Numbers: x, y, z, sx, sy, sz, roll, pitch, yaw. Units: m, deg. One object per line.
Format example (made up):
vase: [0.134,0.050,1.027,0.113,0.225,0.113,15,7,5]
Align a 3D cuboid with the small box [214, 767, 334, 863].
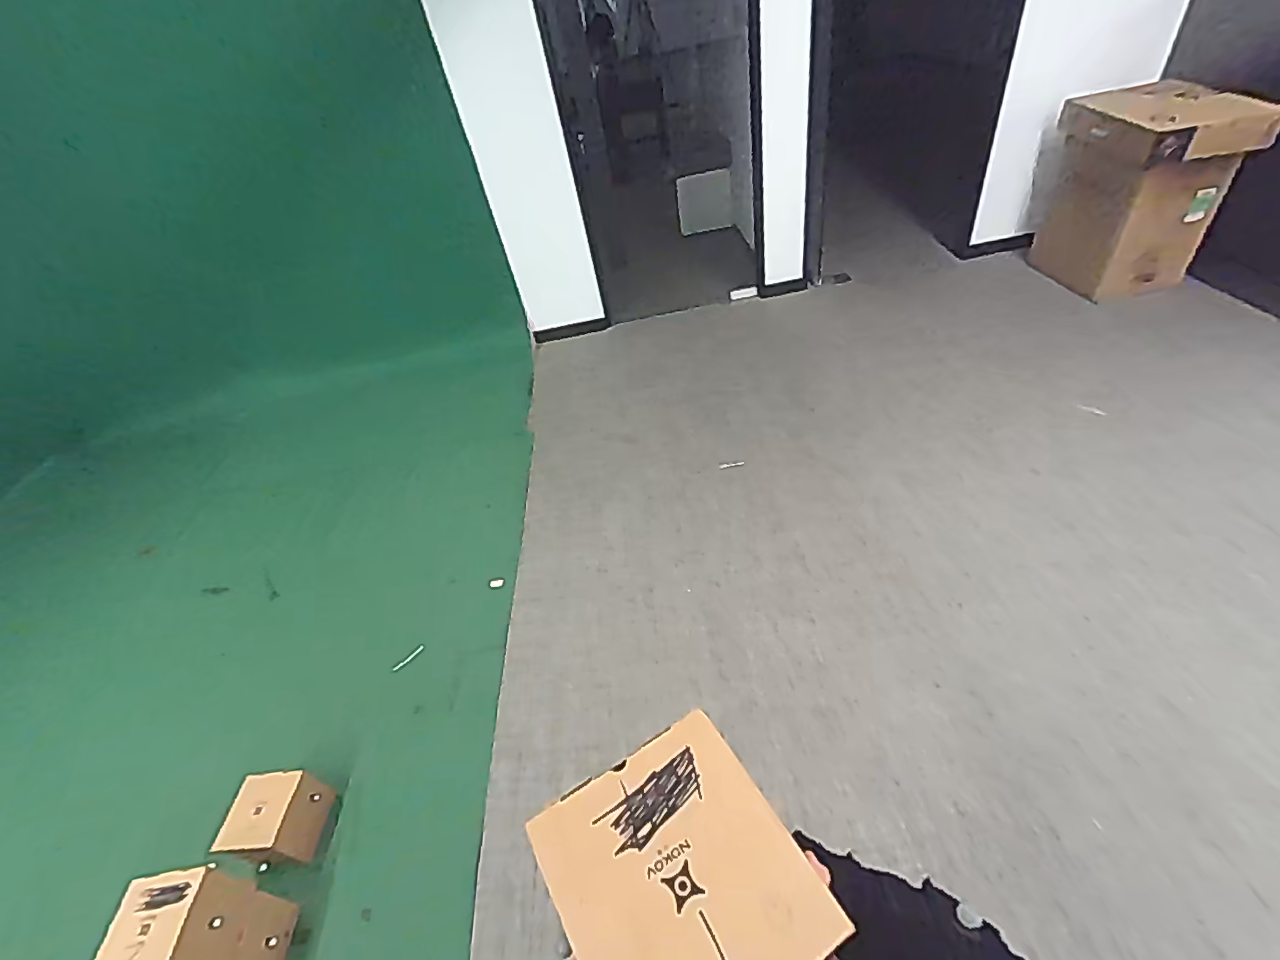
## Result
small box: [-0.947,0.882,1.423,0.168,0.176,0.179,-7,42,7]

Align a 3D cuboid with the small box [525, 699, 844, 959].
small box: [0.027,0.323,0.437,0.168,0.176,0.179,-25,48,-19]
